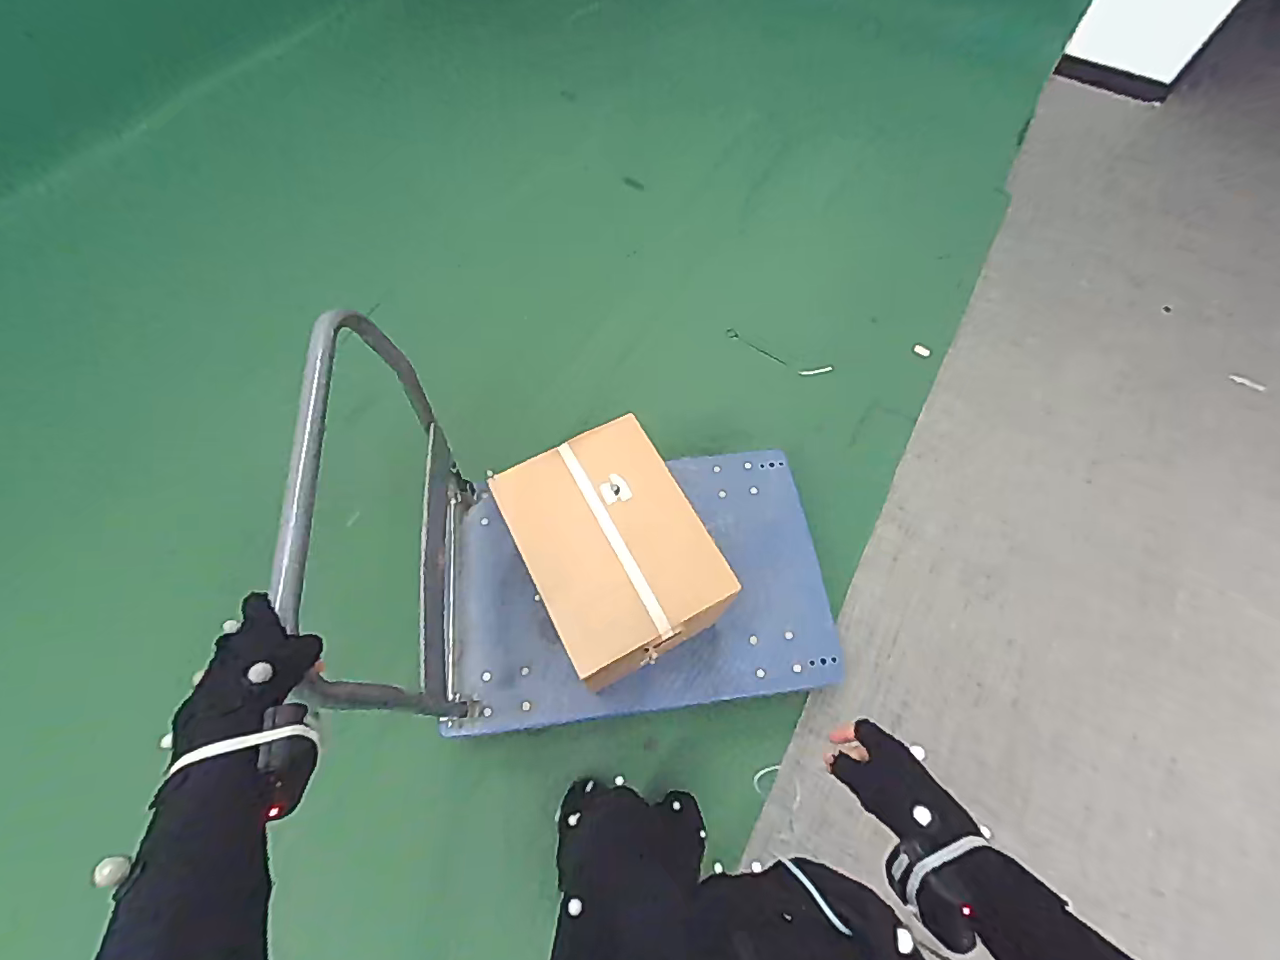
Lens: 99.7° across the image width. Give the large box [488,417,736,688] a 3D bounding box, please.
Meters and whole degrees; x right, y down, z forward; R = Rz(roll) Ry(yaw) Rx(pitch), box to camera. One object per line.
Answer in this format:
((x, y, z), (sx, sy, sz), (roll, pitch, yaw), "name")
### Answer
((-0.058, 0.156, 1.107), (0.320, 0.320, 0.408), (-26, 67, -12), "large box")
